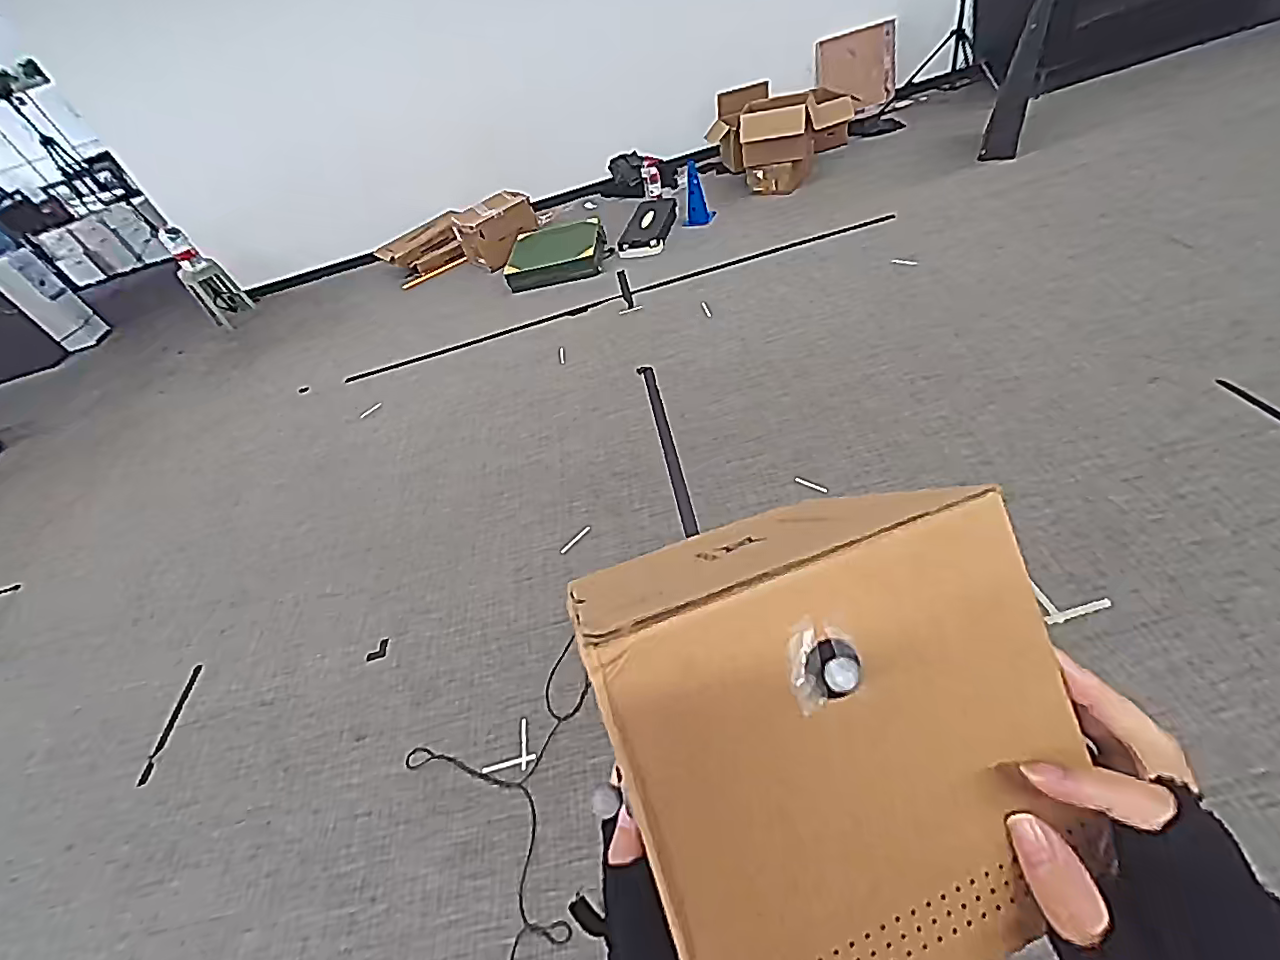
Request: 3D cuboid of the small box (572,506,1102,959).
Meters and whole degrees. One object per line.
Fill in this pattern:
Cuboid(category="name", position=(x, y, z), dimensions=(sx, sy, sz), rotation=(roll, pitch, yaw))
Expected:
Cuboid(category="small box", position=(0.075, 0.121, 0.275), dimensions=(0.179, 0.168, 0.176), rotation=(-18, 89, -10))
